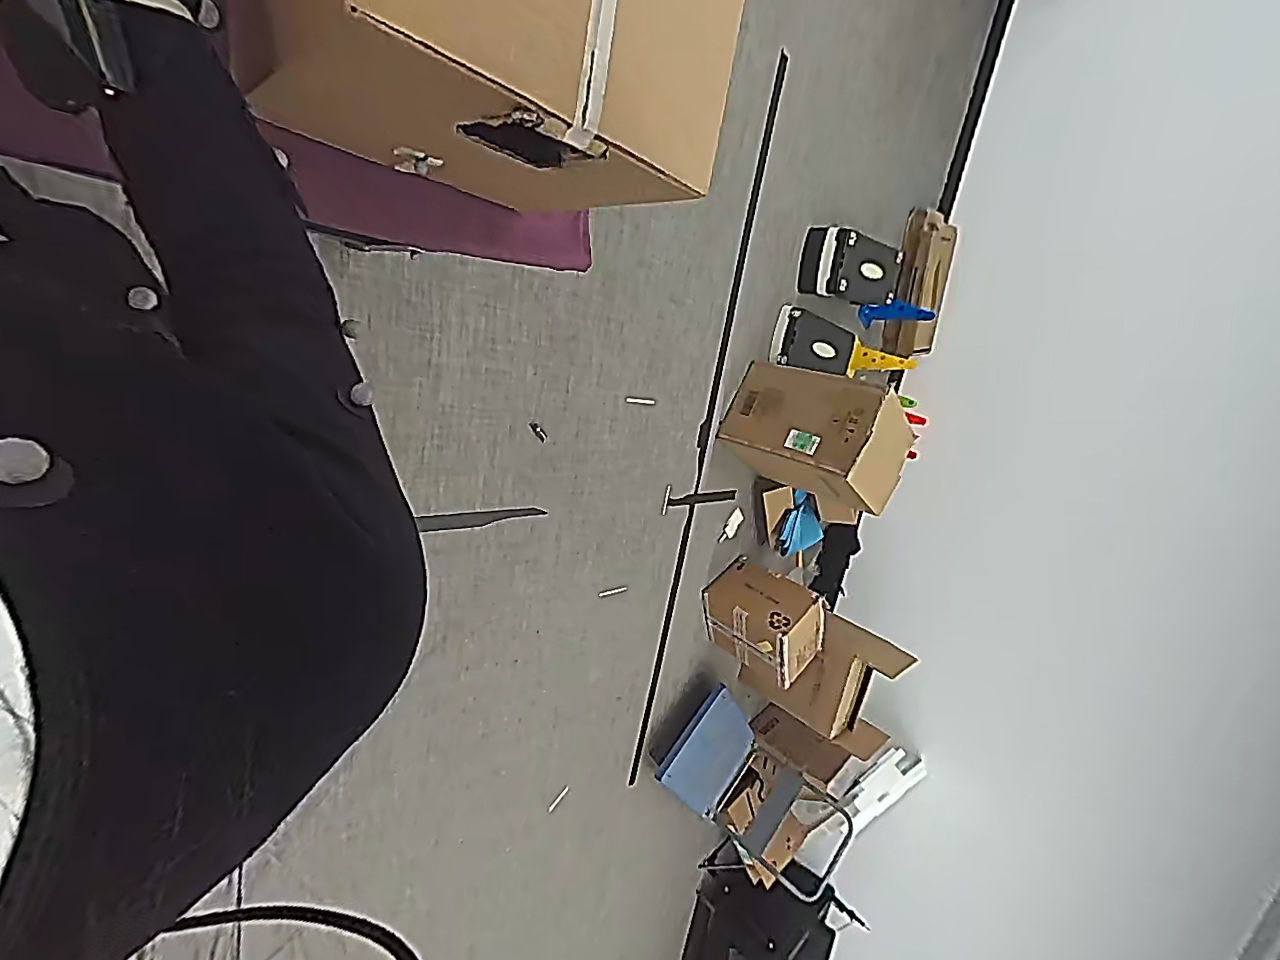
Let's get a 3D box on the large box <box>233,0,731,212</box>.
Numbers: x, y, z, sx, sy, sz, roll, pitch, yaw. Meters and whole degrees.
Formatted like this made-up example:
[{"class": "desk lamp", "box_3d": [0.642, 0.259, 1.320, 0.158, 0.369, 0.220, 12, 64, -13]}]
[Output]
[{"class": "large box", "box_3d": [-0.126, -0.483, 0.449, 0.320, 0.320, 0.408, -5, 109, -47]}]
